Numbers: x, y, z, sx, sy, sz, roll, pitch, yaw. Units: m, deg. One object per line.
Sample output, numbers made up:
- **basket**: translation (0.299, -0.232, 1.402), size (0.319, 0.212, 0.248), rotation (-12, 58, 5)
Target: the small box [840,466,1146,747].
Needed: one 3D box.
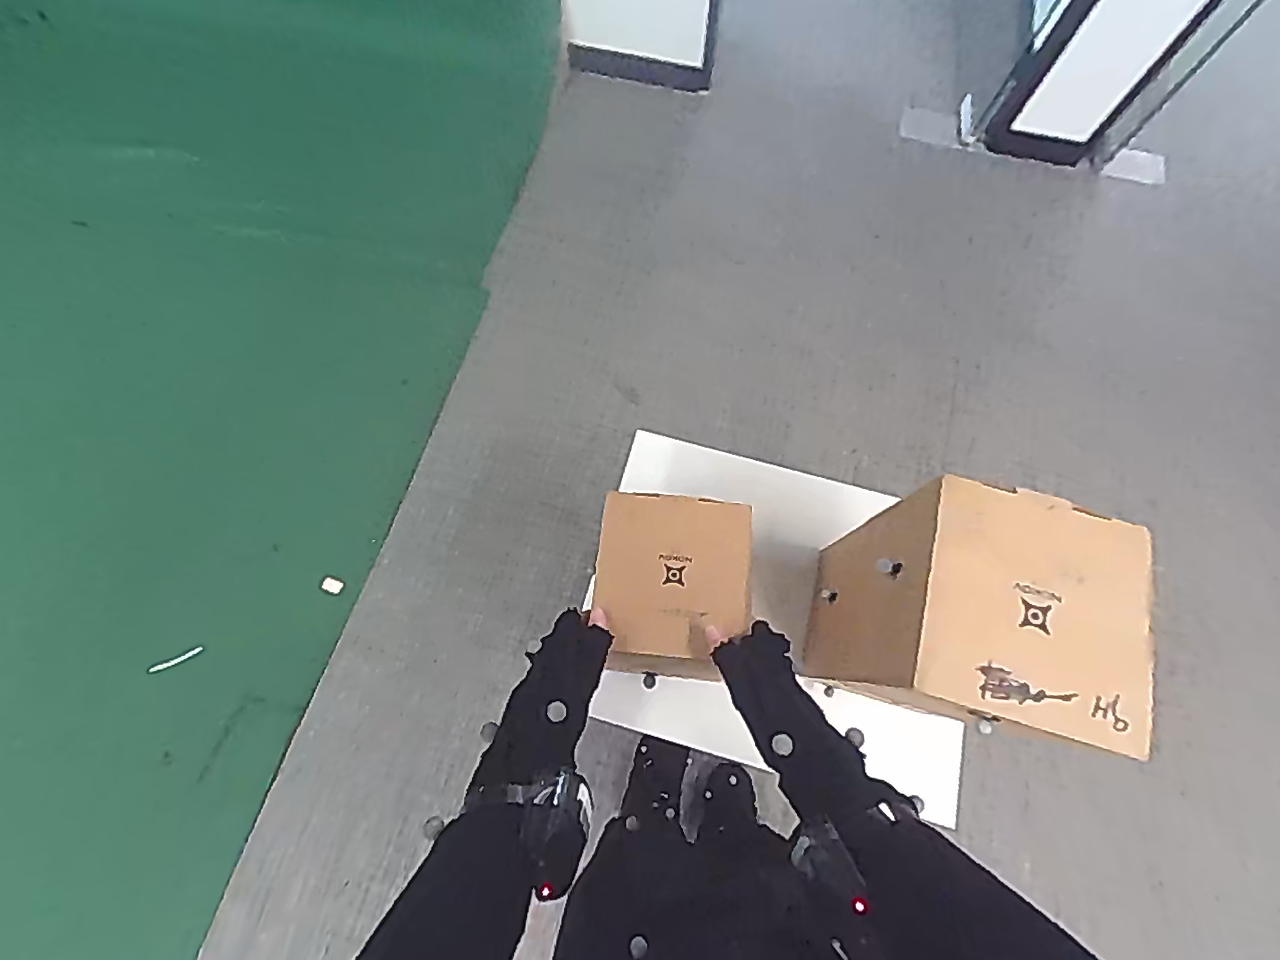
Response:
- **small box**: translation (0.297, 0.113, 0.486), size (0.168, 0.176, 0.179), rotation (15, 73, 6)

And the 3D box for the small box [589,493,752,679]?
- **small box**: translation (0.033, 0.131, 0.642), size (0.168, 0.176, 0.179), rotation (3, 64, 1)
